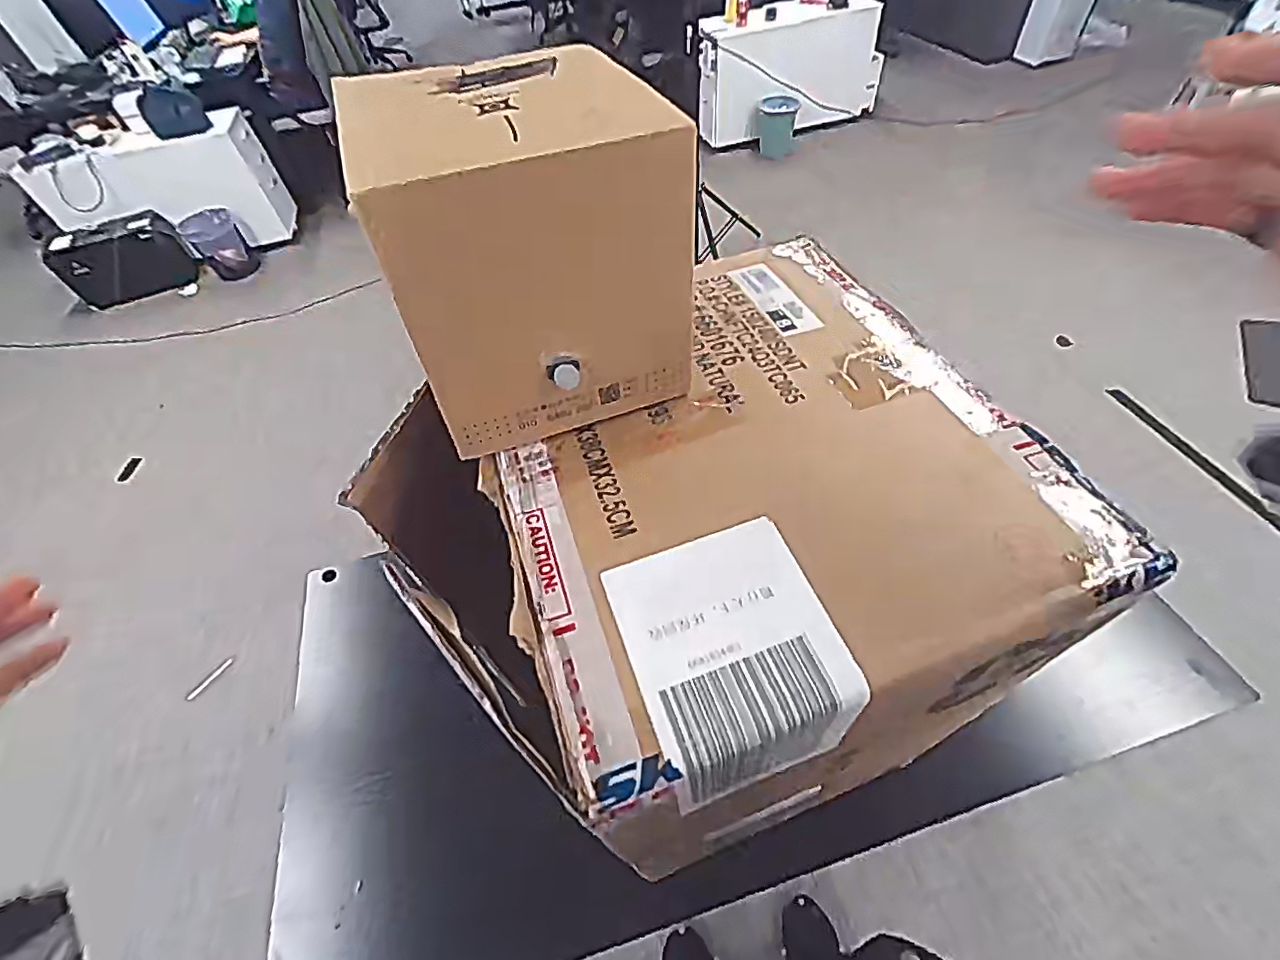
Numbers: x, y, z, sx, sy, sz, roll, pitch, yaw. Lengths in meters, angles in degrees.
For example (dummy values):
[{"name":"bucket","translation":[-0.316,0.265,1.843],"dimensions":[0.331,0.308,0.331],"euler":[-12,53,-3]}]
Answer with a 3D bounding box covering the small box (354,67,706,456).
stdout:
[{"name":"small box","translation":[-0.069,-0.146,0.360],"dimensions":[0.168,0.176,0.179],"euler":[-18,50,-12]}]
